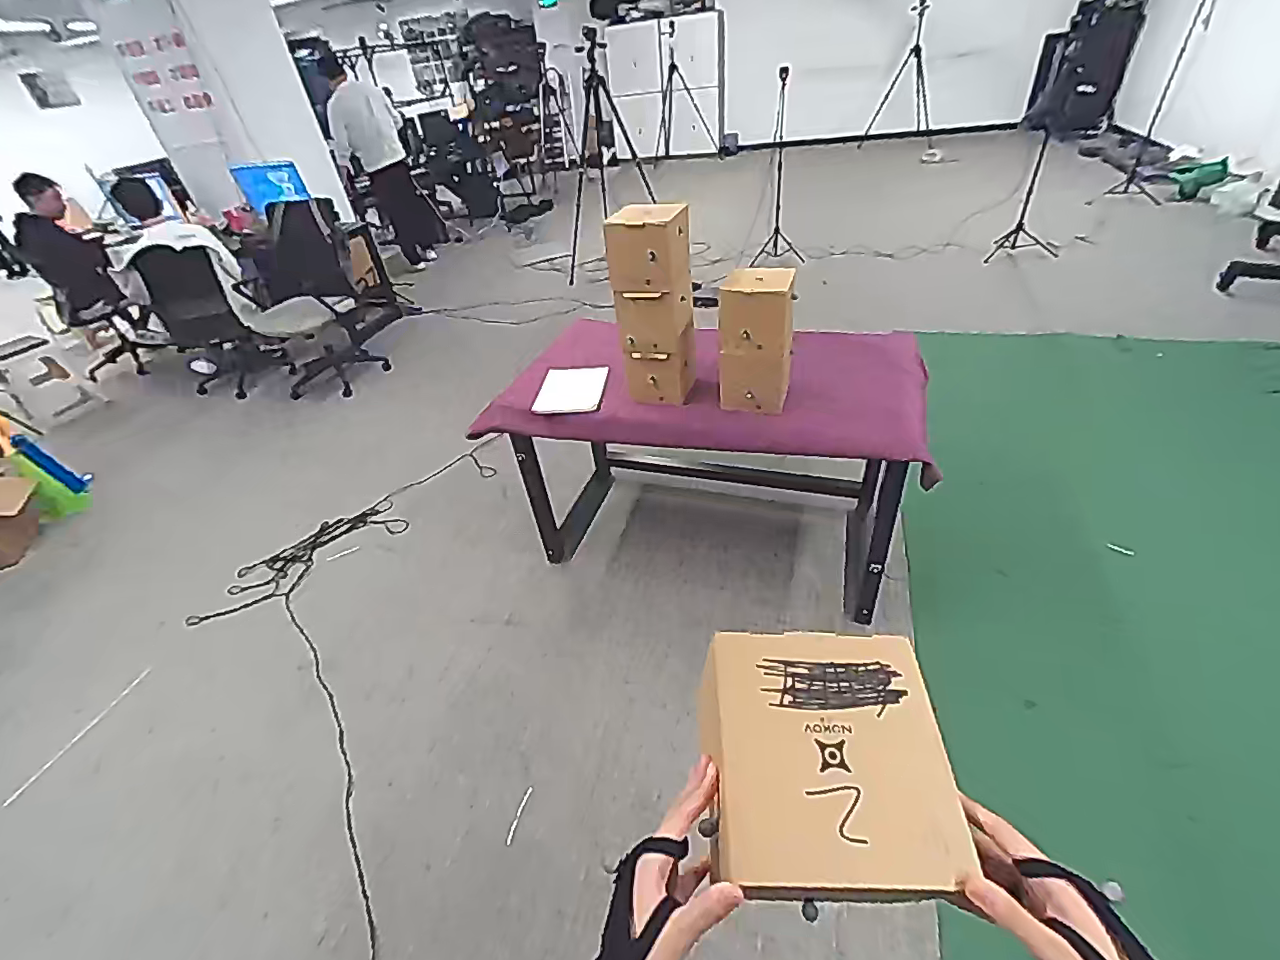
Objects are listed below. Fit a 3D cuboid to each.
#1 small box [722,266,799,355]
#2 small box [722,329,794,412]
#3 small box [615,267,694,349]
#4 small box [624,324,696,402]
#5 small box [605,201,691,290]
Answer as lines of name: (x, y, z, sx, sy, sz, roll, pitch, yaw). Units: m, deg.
small box: (0.307, -0.439, 1.393, 0.168, 0.176, 0.179, 8, 41, 19)
small box: (0.324, -0.308, 1.488, 0.168, 0.176, 0.179, 8, 40, 19)
small box: (0.048, -0.469, 1.473, 0.168, 0.176, 0.179, 8, 40, 19)
small box: (0.067, -0.345, 1.580, 0.168, 0.176, 0.179, 8, 42, 18)
small box: (0.030, -0.592, 1.368, 0.168, 0.176, 0.179, 9, 41, 19)
